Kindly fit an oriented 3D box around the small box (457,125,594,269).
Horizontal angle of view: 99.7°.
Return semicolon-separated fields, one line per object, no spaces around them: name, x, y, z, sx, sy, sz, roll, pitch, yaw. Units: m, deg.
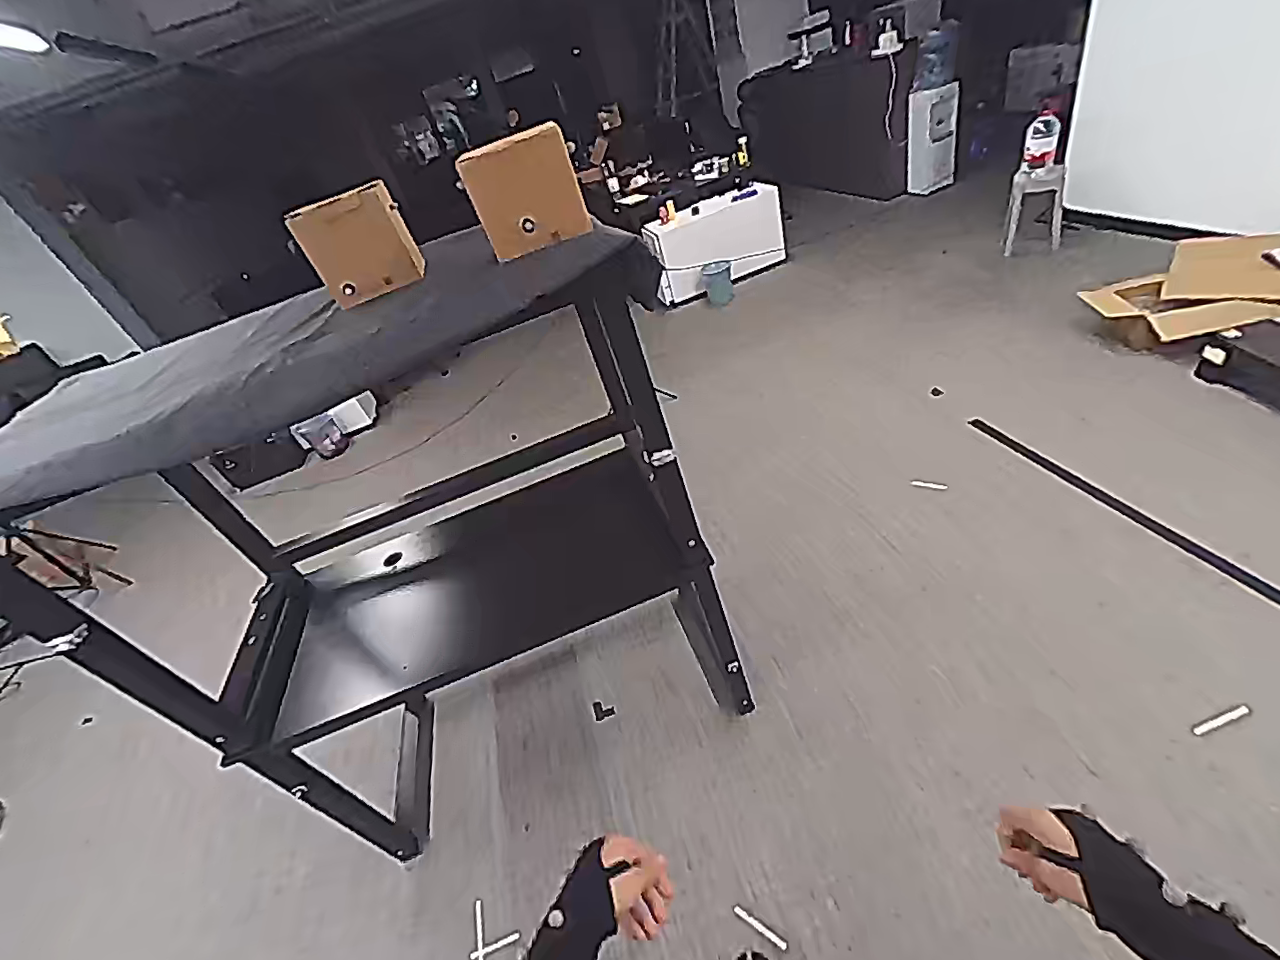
small box;-0.188;-0.477;0.915;0.168;0.176;0.179;-20;36;1

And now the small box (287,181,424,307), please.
small box;-0.536;-0.454;1.047;0.168;0.176;0.179;-24;36;-5
